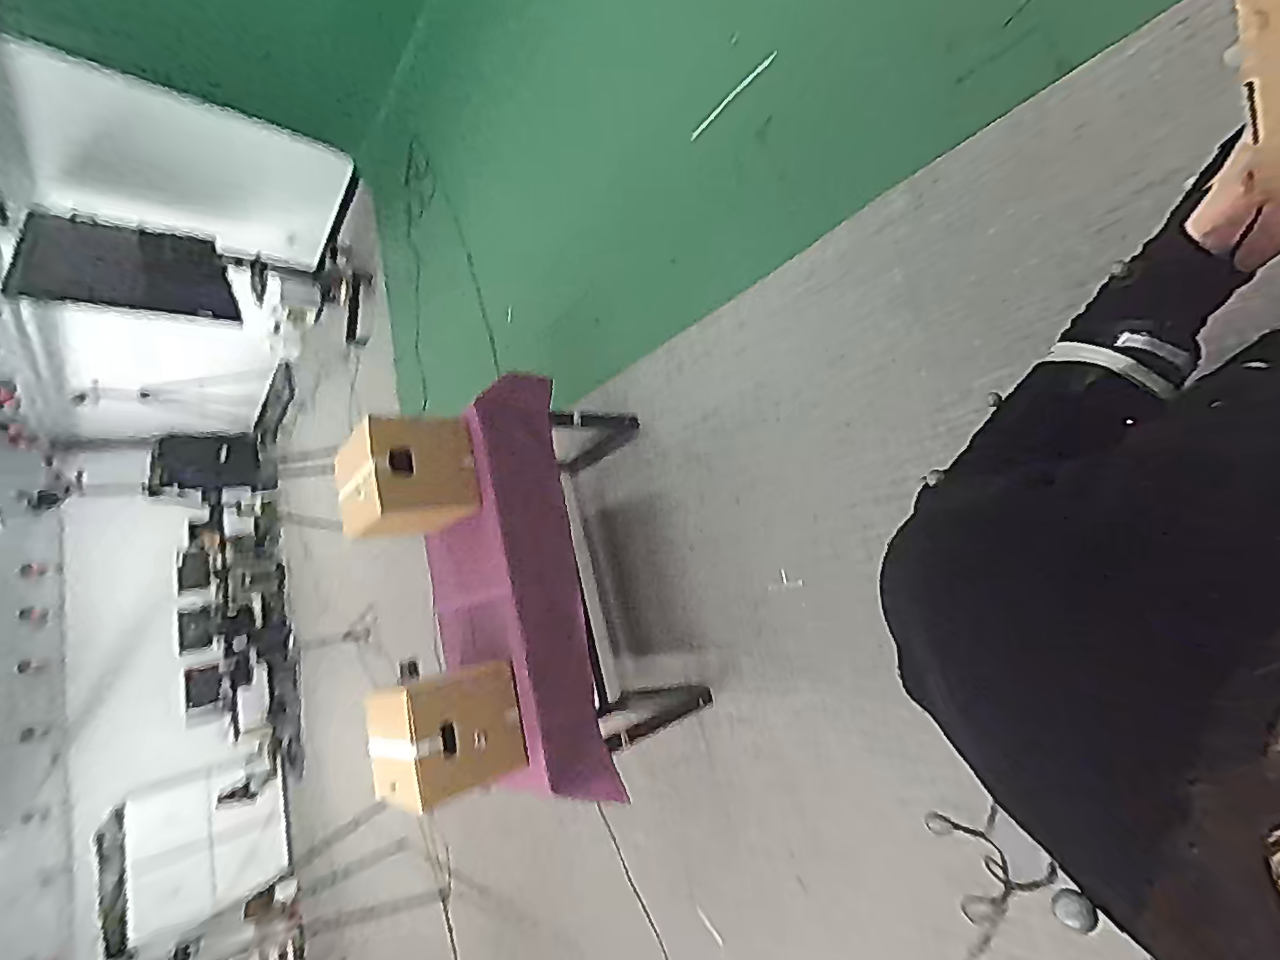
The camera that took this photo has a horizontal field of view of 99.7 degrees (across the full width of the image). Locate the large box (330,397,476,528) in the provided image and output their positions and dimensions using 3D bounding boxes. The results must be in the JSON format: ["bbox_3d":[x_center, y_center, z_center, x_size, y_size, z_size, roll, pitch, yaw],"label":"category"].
[{"bbox_3d":[-0.792,-0.043,1.788,0.408,0.320,0.320,-22,77,44],"label":"large box"}]
